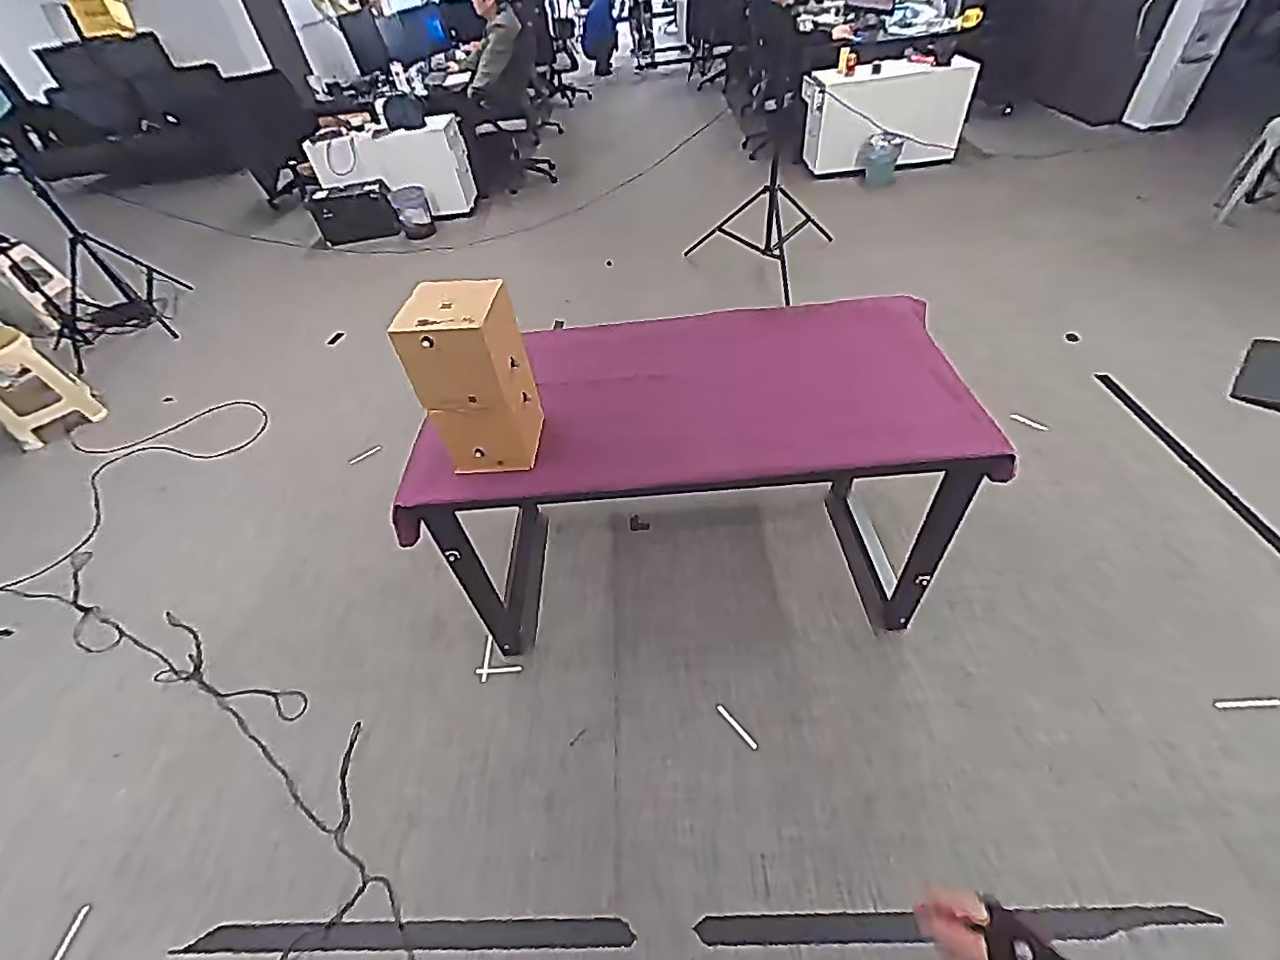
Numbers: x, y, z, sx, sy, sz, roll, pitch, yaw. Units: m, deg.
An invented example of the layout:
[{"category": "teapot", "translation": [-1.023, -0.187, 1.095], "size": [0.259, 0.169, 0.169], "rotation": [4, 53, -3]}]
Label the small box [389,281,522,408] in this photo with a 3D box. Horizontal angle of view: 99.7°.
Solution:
[{"category": "small box", "translation": [-0.328, -0.251, 1.008], "size": [0.168, 0.176, 0.179], "rotation": [-1, 45, 6]}]

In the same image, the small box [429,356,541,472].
[{"category": "small box", "translation": [-0.310, -0.137, 1.124], "size": [0.168, 0.176, 0.179], "rotation": [-3, 46, 4]}]
